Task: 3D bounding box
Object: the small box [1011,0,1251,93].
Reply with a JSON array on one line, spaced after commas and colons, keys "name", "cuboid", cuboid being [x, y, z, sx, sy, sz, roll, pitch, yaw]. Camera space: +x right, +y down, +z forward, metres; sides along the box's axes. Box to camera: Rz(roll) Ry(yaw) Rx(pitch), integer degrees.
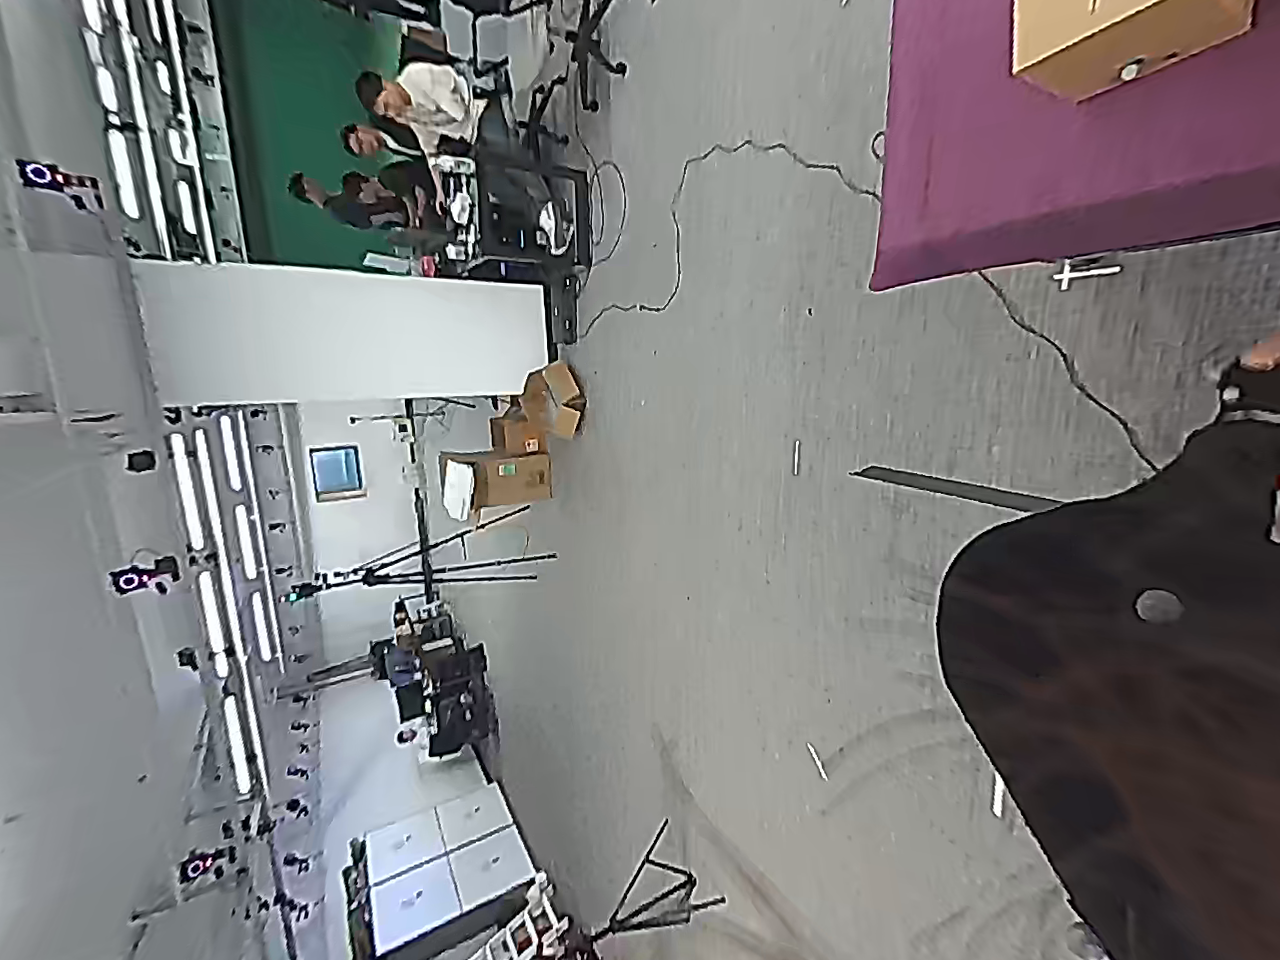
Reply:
[{"name": "small box", "cuboid": [0.555, -0.584, 0.610, 0.168, 0.176, 0.179, 11, 108, 59]}]
